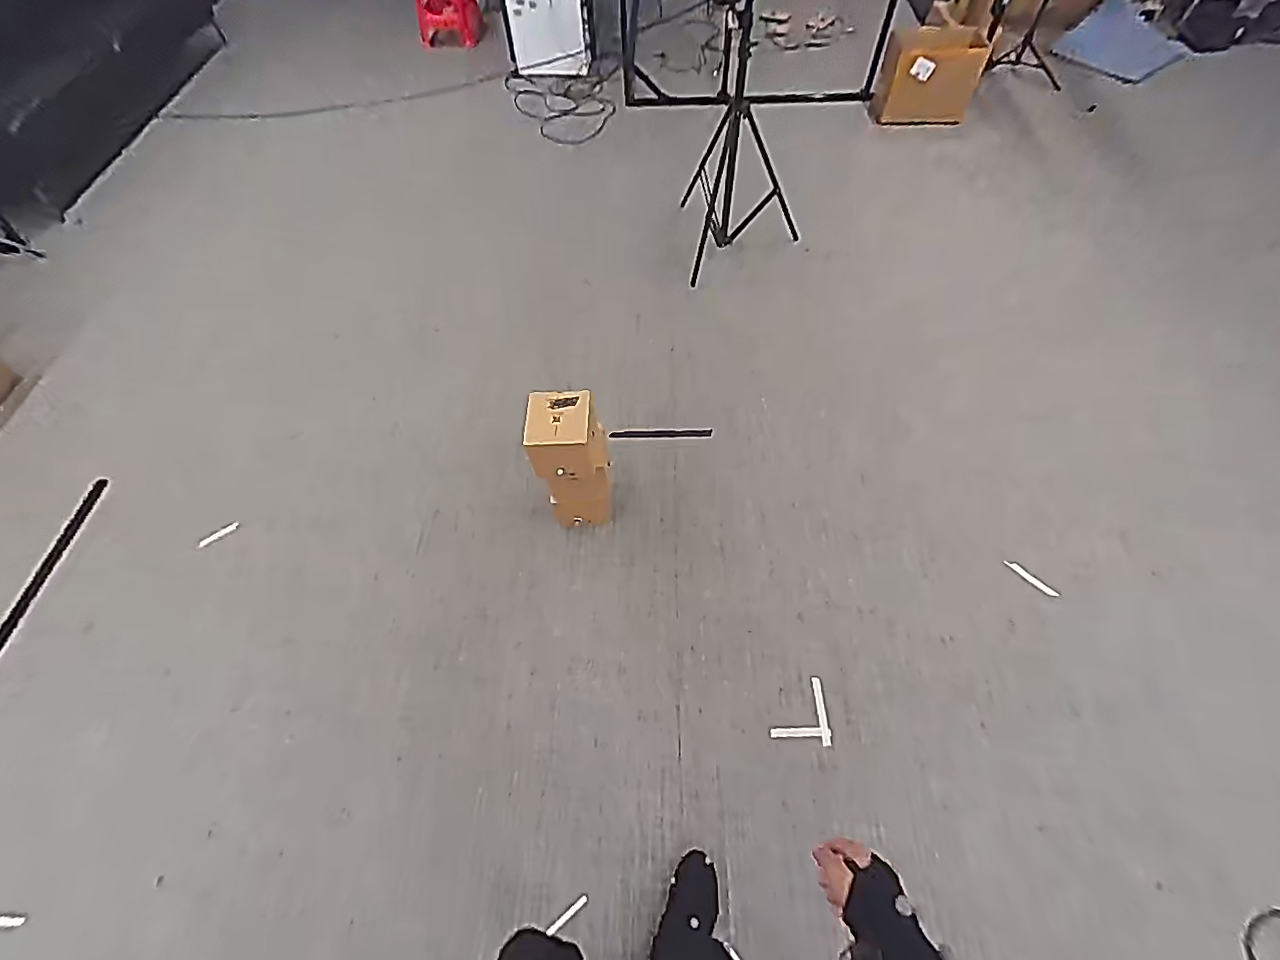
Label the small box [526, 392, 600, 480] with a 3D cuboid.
[{"bbox_3d":[-0.200,-0.117,1.466,0.168,0.176,0.179,-2,59,3],"label":"small box"}]

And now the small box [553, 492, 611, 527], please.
[{"bbox_3d":[-0.183,0.037,1.756,0.168,0.176,0.179,-3,59,1],"label":"small box"}]

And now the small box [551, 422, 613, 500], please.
[{"bbox_3d":[-0.177,-0.052,1.617,0.179,0.176,0.168,-4,58,1],"label":"small box"}]
